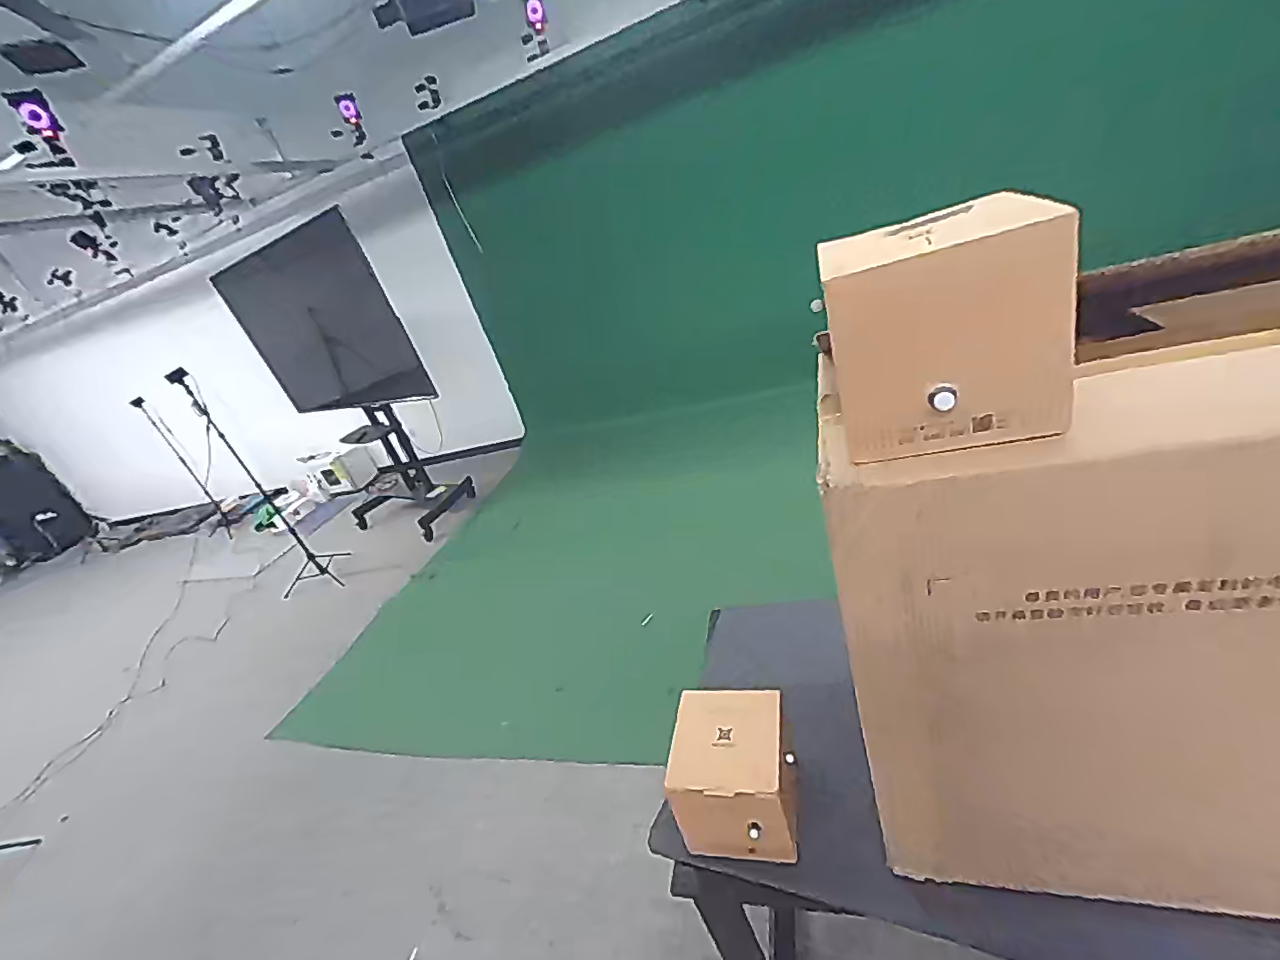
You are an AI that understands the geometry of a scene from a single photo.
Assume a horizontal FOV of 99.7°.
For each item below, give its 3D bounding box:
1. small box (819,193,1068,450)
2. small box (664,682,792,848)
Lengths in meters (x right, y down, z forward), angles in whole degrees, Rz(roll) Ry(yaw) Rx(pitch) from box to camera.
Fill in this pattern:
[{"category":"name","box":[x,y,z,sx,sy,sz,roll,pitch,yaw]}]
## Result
[{"category":"small box","box":[0.264,-0.146,0.501,0.168,0.176,0.179,-9,28,22]},{"category":"small box","box":[0.149,0.452,0.867,0.168,0.176,0.179,-7,25,18]}]
